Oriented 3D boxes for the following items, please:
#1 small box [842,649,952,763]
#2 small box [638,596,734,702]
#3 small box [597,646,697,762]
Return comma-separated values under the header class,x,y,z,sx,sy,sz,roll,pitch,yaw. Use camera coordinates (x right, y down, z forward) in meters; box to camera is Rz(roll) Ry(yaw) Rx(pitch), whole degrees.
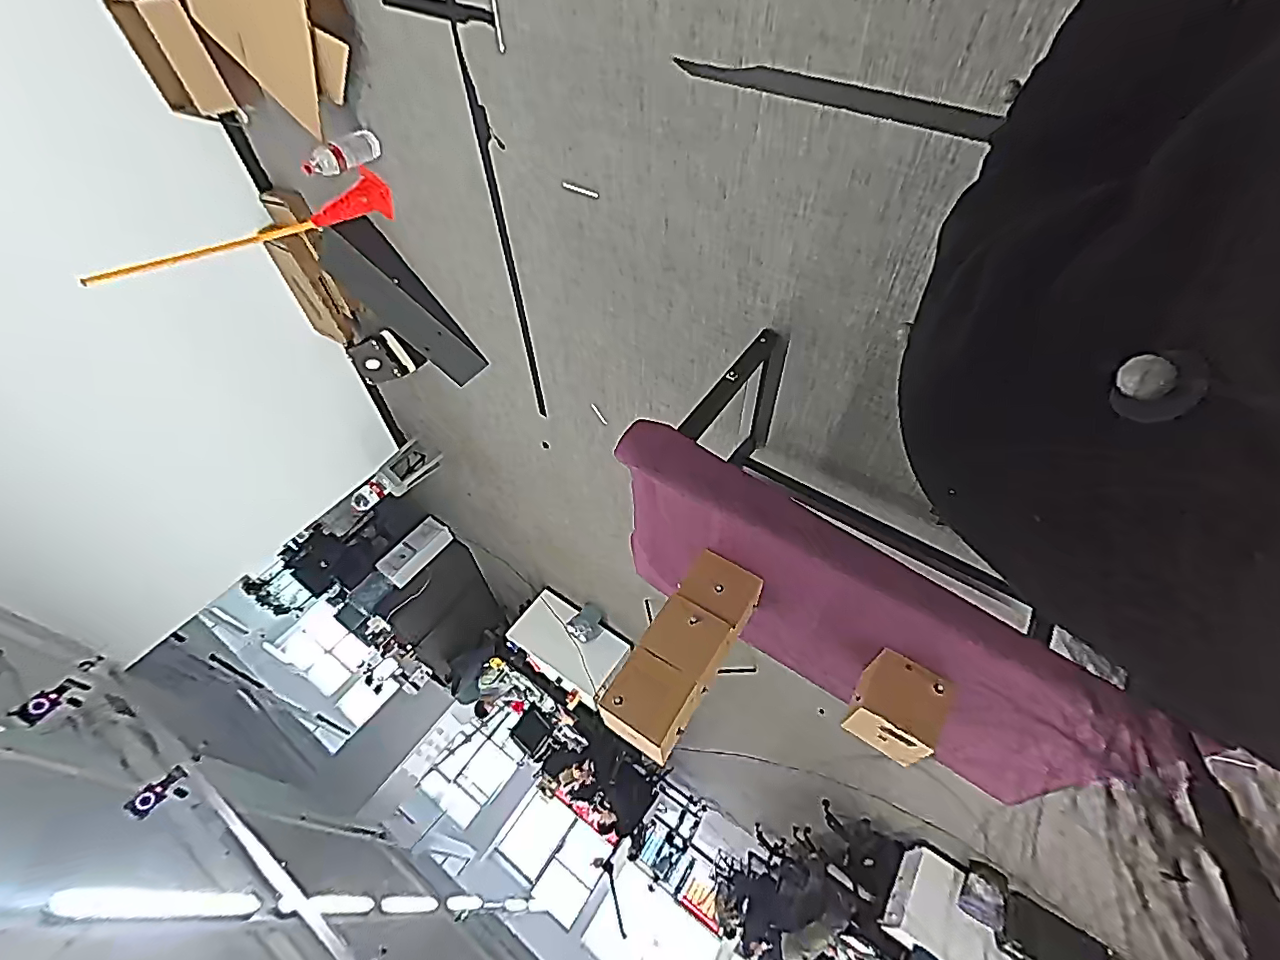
class,x,y,z,sx,sy,sz,roll,pitch,yaw
small box,0.609,0.530,1.280,0.168,0.176,0.179,29,149,21
small box,0.117,0.419,1.369,0.179,0.176,0.168,26,147,25
small box,0.025,0.531,1.294,0.179,0.176,0.168,25,147,24
